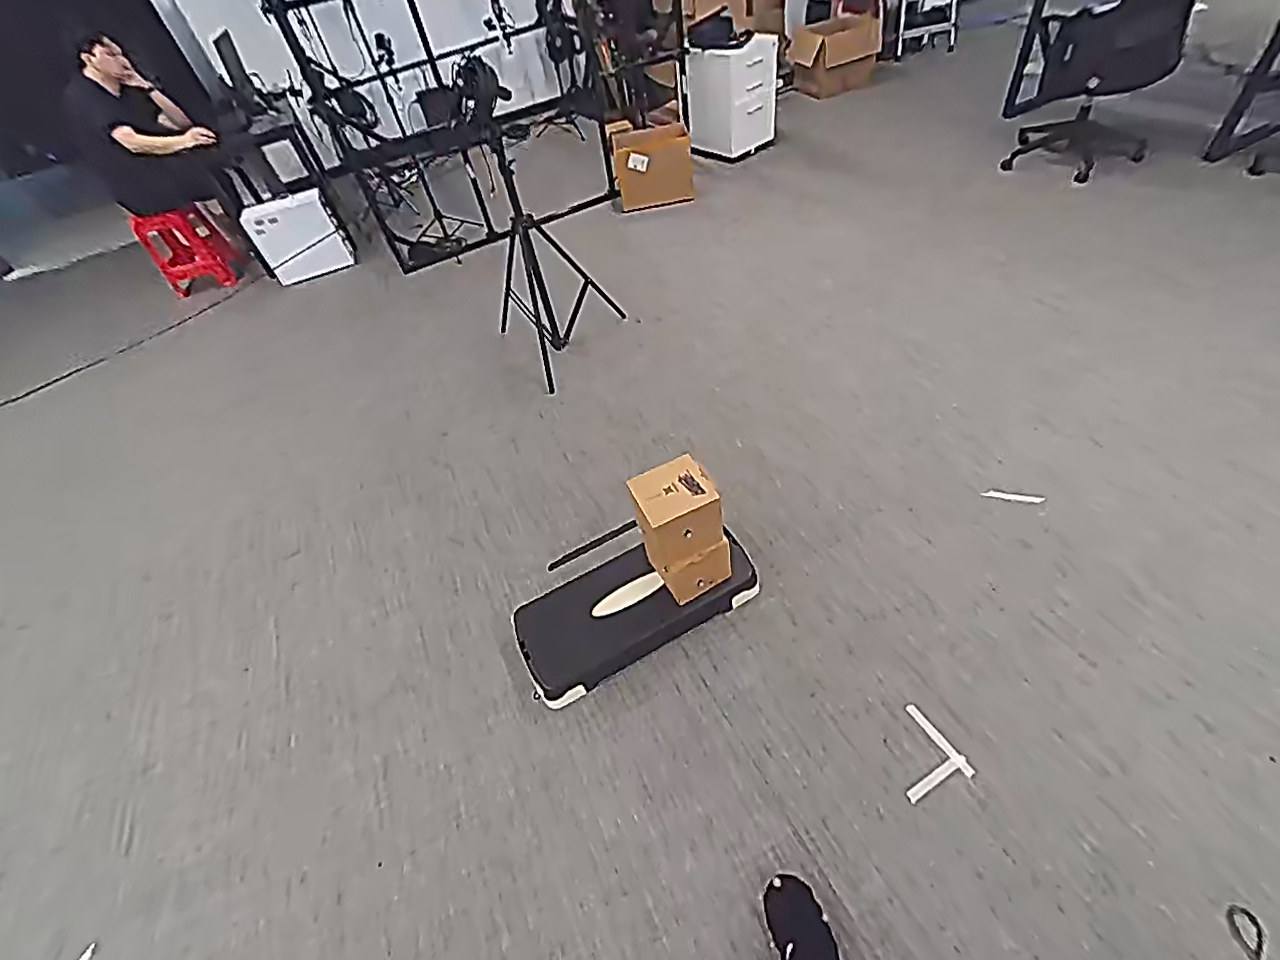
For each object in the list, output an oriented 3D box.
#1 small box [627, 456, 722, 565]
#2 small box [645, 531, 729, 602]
[{"bbox_3d":[0.088,0.076,1.329,0.179,0.176,0.168,-24,49,-9],"label":"small box"},{"bbox_3d":[0.123,0.191,1.443,0.168,0.176,0.179,-28,50,-13],"label":"small box"}]
